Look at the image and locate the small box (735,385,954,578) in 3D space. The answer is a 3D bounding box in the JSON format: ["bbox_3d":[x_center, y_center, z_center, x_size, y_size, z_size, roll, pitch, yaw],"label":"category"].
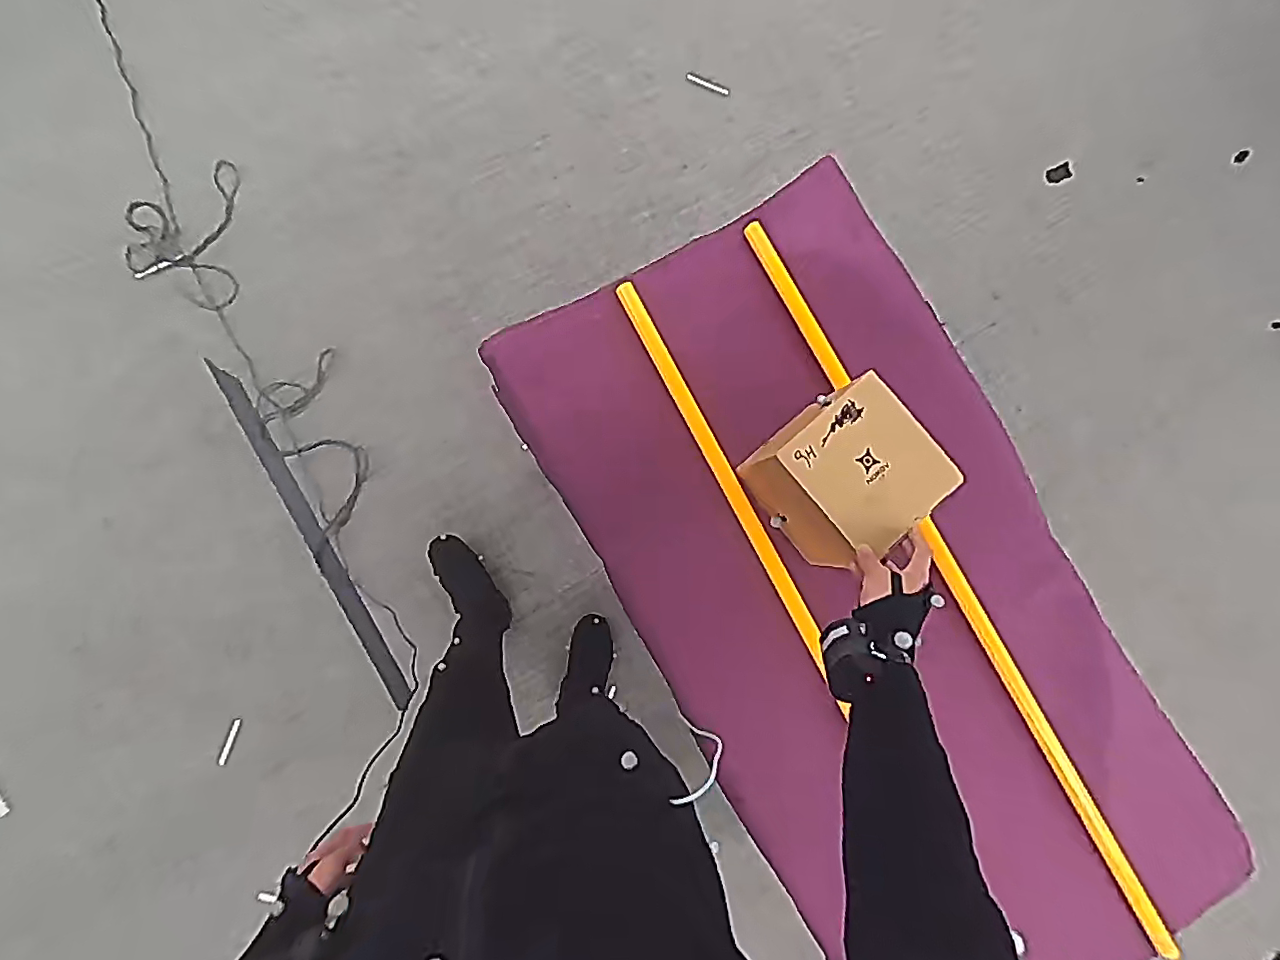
[{"bbox_3d":[0.256,0.005,0.719,0.168,0.176,0.179,-39,90,-9],"label":"small box"}]
